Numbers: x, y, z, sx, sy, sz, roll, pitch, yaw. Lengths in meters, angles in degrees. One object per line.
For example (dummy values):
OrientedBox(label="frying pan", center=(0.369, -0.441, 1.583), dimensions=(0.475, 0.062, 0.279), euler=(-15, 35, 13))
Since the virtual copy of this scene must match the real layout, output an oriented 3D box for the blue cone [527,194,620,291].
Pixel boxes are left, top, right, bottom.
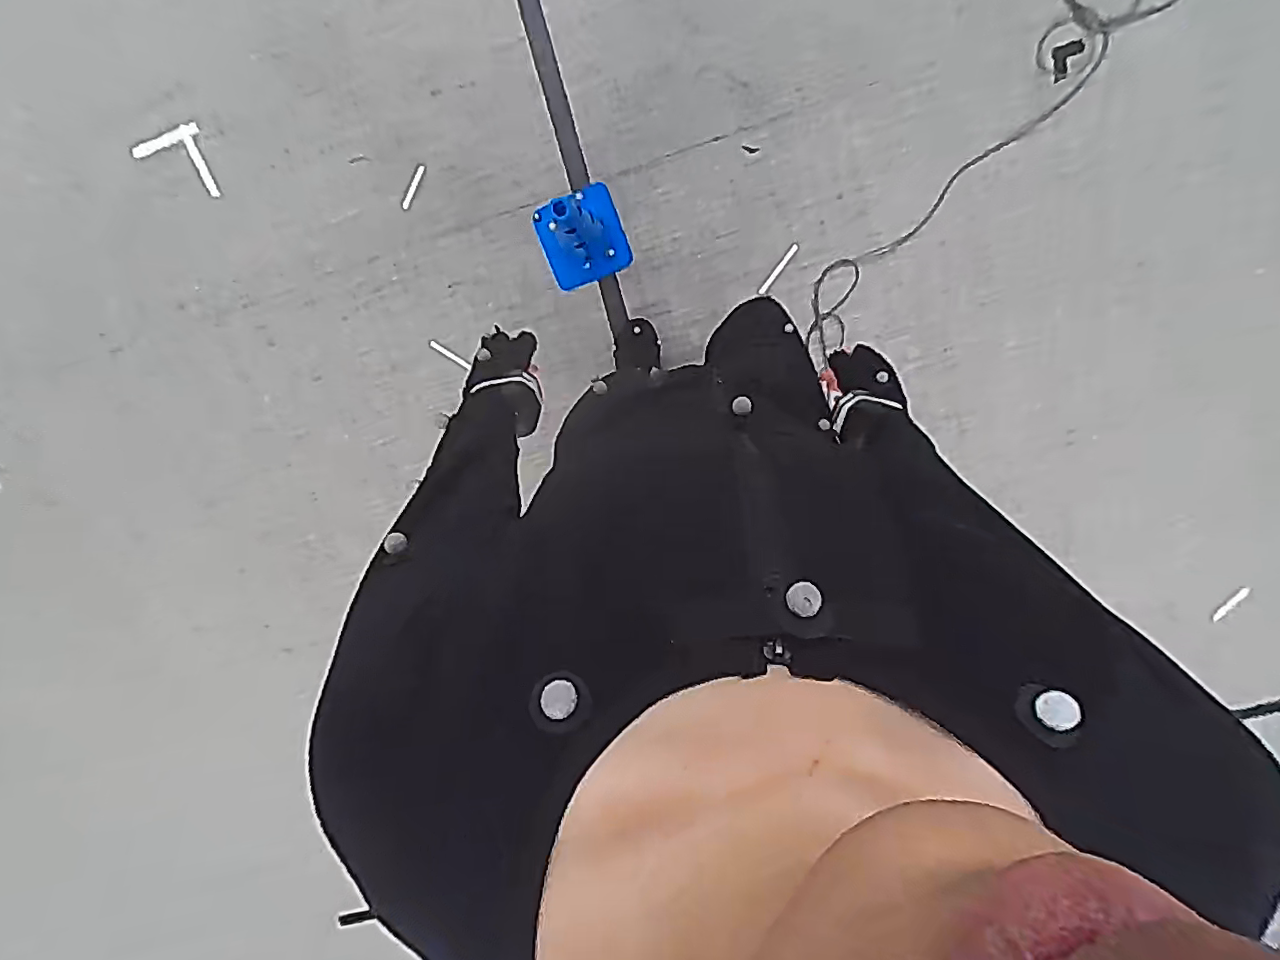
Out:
OrientedBox(label="blue cone", center=(-0.161, -0.535, 1.162), dimensions=(0.192, 0.380, 0.193), euler=(-19, 105, 7))
